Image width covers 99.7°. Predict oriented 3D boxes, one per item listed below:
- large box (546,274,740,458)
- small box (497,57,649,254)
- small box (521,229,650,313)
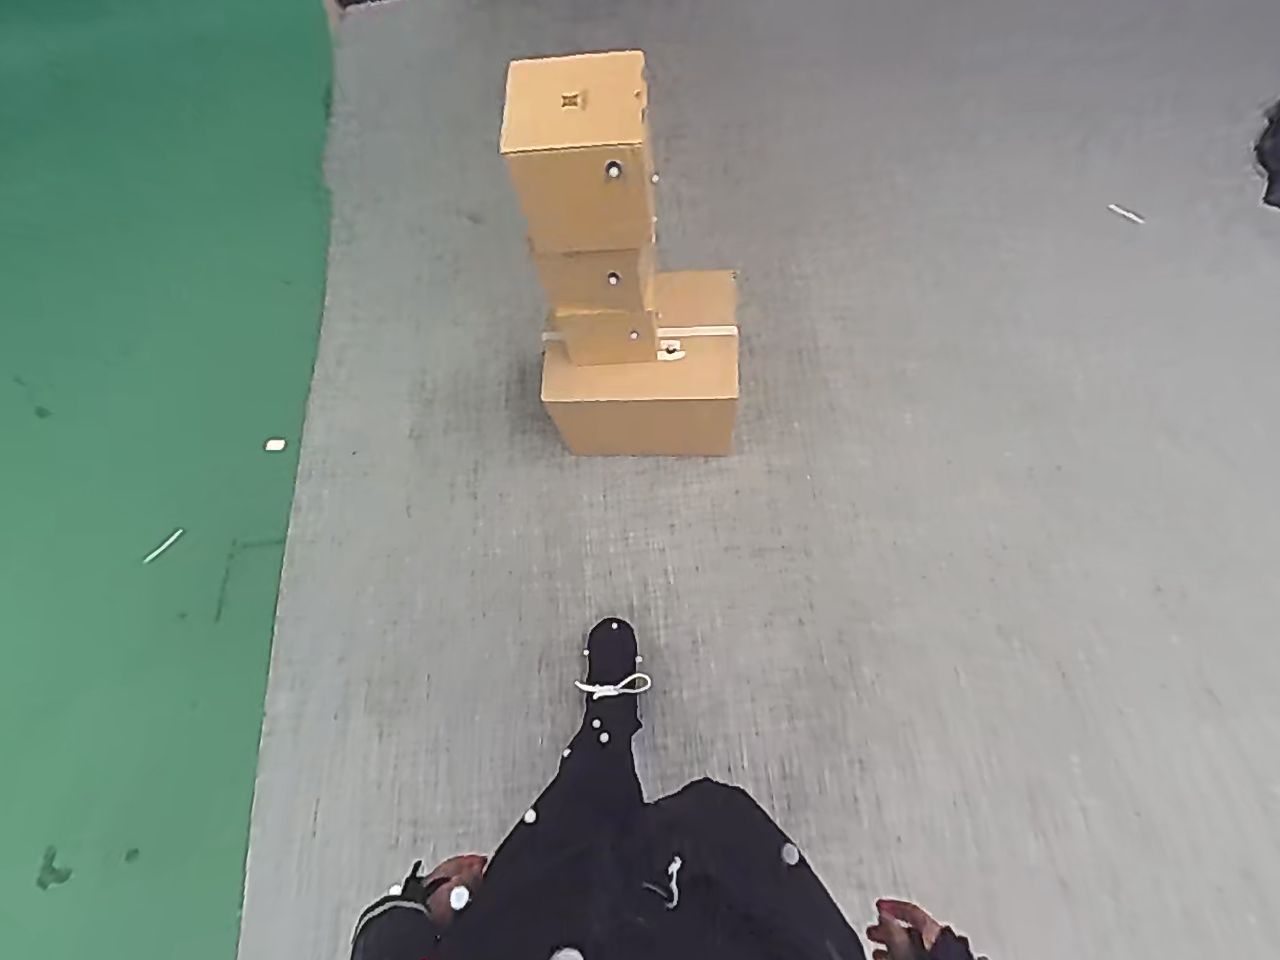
[{"bbox_3d":[0.013,-0.251,1.281,0.408,0.320,0.320,-1,72,5],"label":"large box"},{"bbox_3d":[-0.081,-0.437,0.750,0.179,0.176,0.168,-3,69,4],"label":"small box"},{"bbox_3d":[-0.079,-0.399,0.910,0.179,0.176,0.168,3,70,8],"label":"small box"}]
